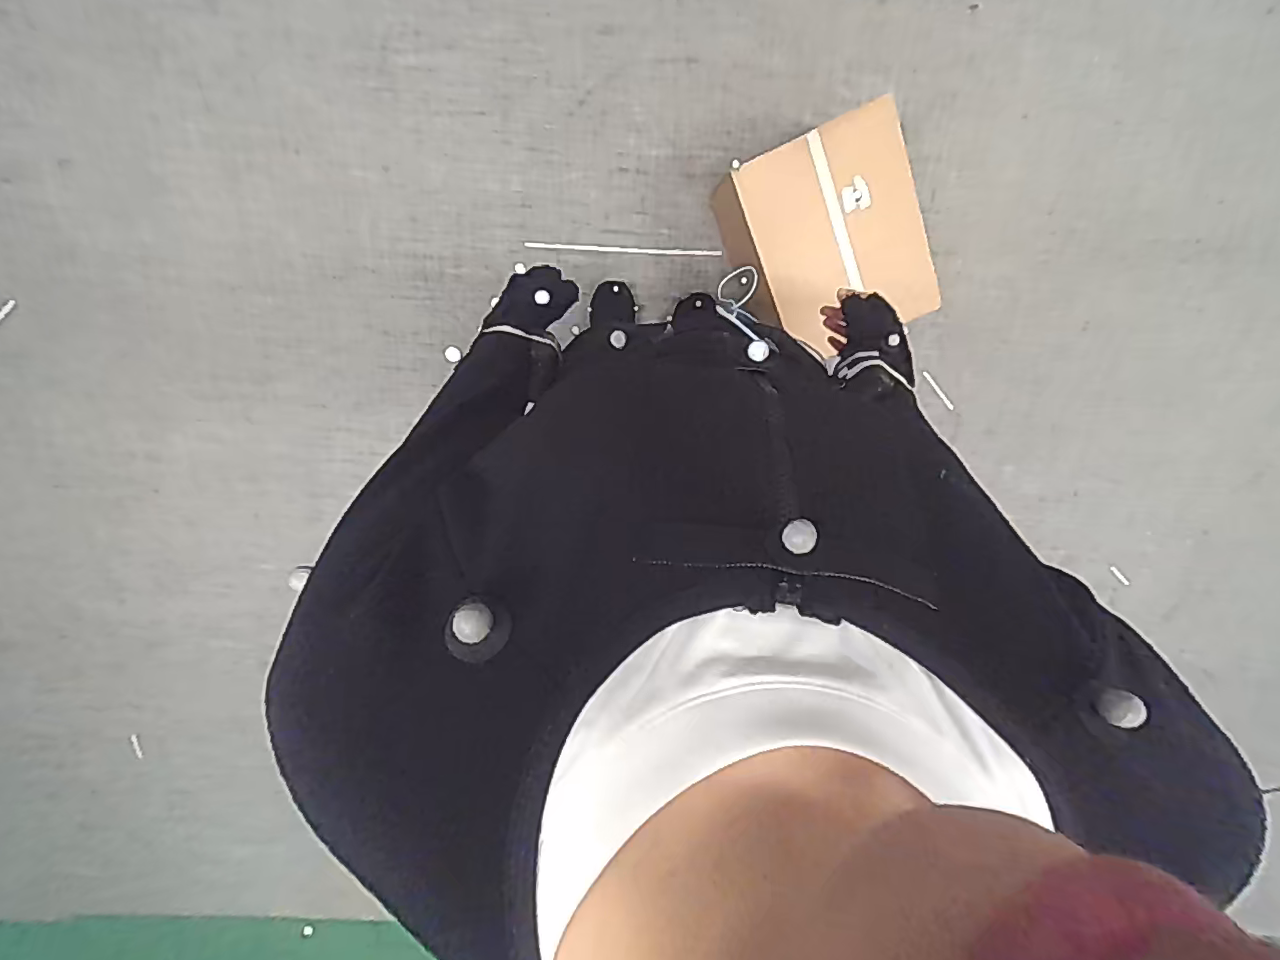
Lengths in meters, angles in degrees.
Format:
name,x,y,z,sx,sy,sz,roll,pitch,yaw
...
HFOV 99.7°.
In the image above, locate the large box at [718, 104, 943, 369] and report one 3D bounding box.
name,x,y,z,sx,sy,sz,roll,pitch,yaw
large box,0.401,-0.509,1.203,0.320,0.320,0.408,-23,108,7
